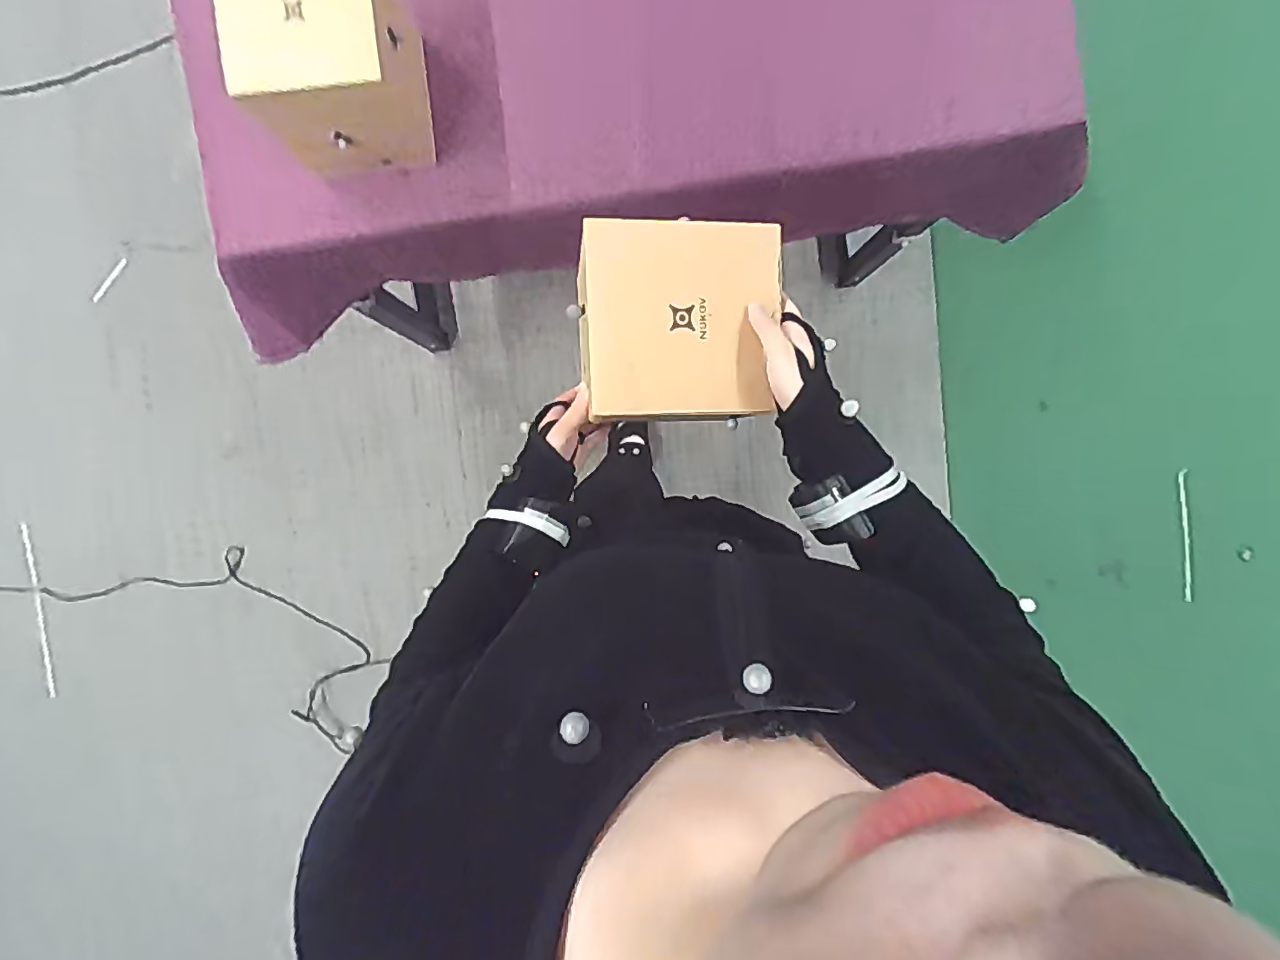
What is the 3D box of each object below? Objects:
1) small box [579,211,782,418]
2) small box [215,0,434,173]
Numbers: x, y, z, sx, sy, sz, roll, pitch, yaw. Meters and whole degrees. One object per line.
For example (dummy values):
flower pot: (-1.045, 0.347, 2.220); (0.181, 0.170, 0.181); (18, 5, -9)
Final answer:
small box: (0.028, -0.150, 0.544); (0.179, 0.176, 0.168); (-2, 94, -9)
small box: (-0.362, -0.494, 0.648); (0.168, 0.176, 0.179); (-6, 92, -1)
